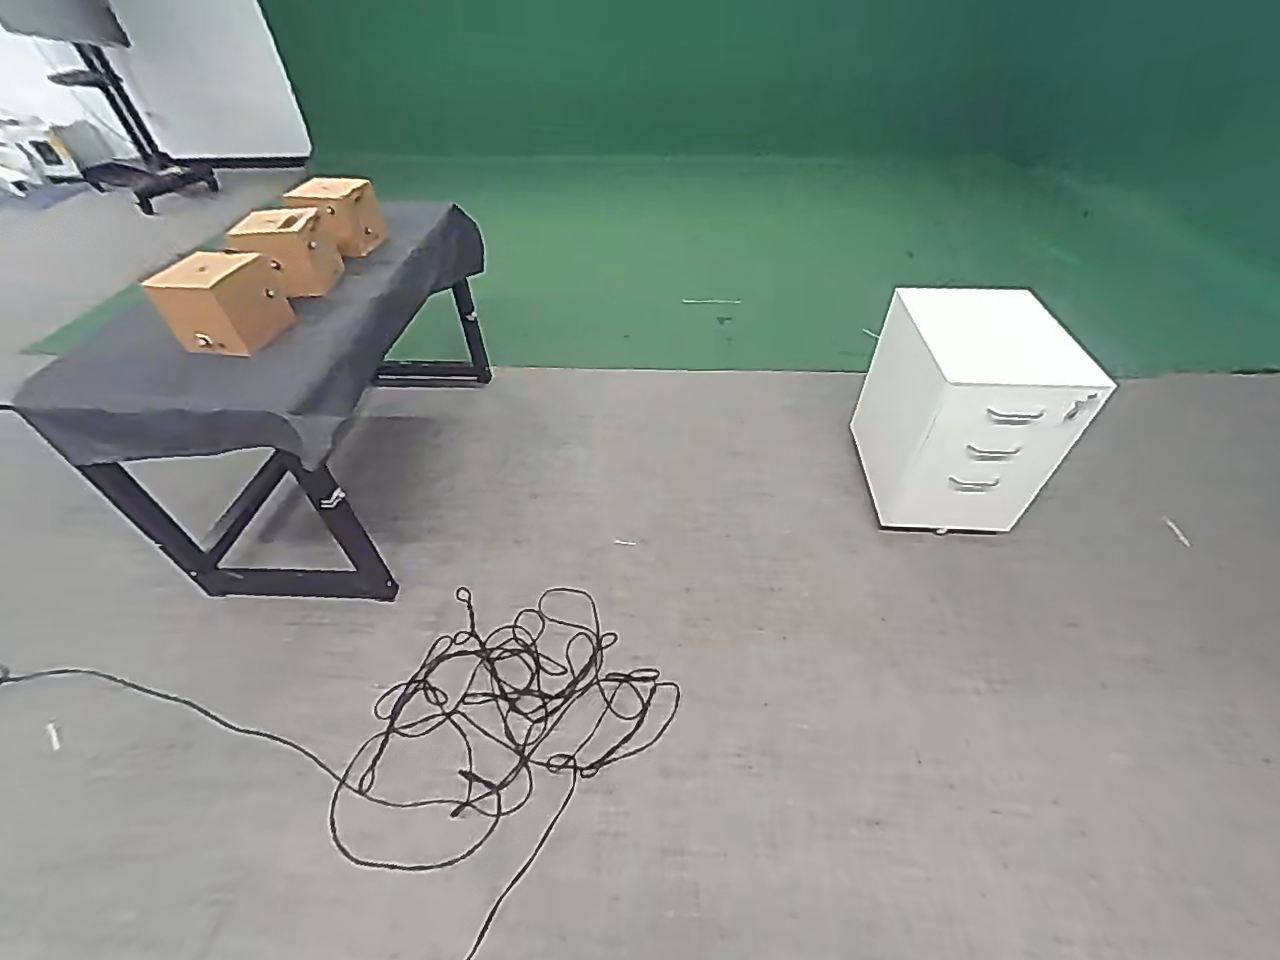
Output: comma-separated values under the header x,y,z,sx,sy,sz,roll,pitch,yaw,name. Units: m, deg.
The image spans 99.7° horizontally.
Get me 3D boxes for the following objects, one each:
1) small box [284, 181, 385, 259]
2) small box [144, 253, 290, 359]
x,y,z,sx,sy,sz,roll,pitch,yaw,name
-0.899,-0.773,1.609,0.179,0.176,0.168,5,45,6,small box
-0.941,-0.395,1.229,0.168,0.176,0.179,4,46,7,small box
